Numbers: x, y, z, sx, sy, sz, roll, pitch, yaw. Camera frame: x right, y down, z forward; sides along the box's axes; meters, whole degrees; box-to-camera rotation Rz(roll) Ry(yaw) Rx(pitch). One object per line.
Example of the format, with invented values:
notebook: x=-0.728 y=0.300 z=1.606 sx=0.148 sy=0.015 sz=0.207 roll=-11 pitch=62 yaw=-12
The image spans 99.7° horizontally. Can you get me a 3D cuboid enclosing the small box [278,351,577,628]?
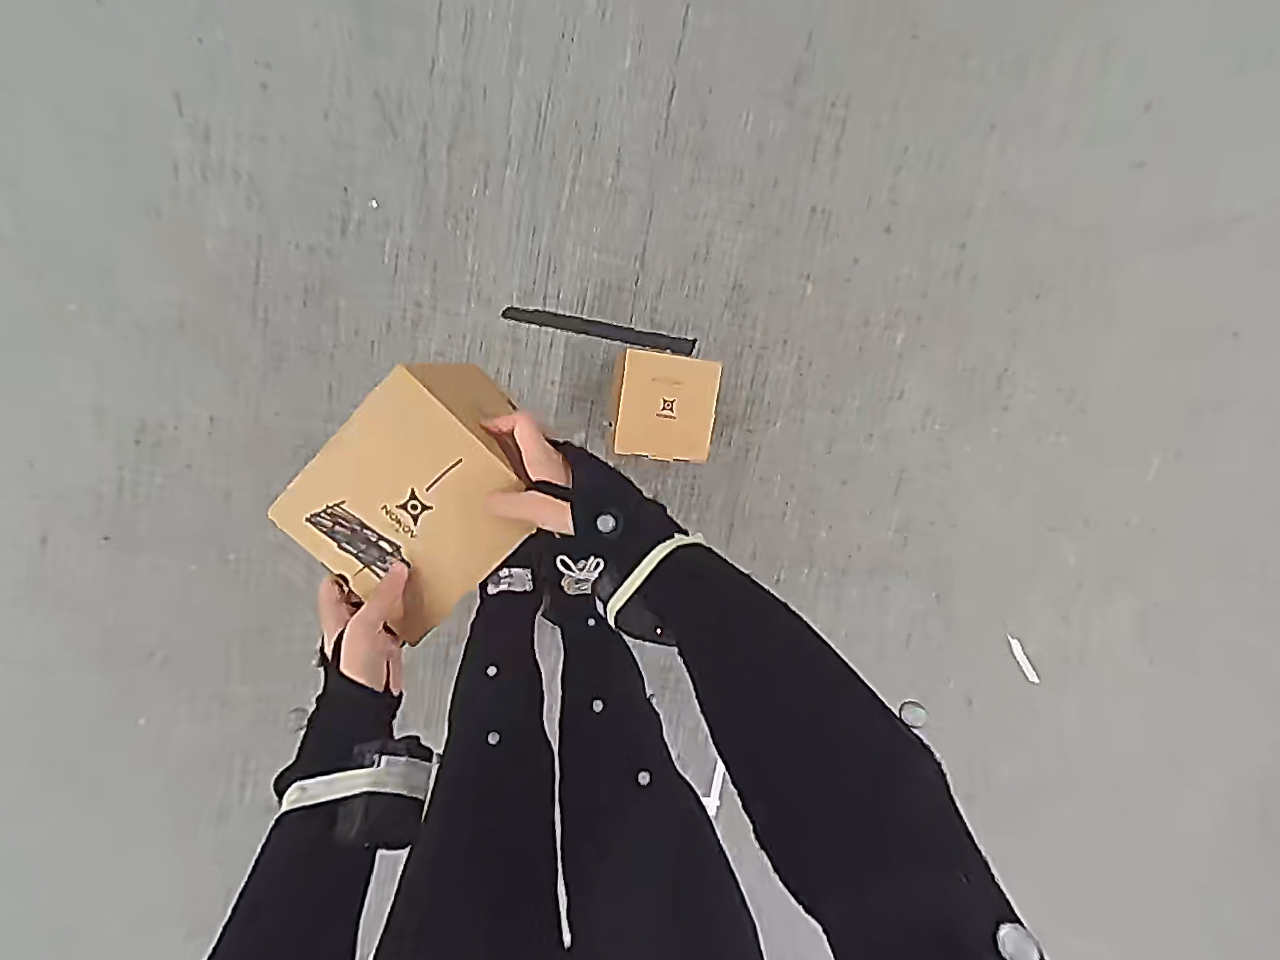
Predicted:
small box: x=-0.180 y=-0.002 z=0.517 sx=0.168 sy=0.176 sz=0.179 roll=44 pitch=100 yaw=-7
